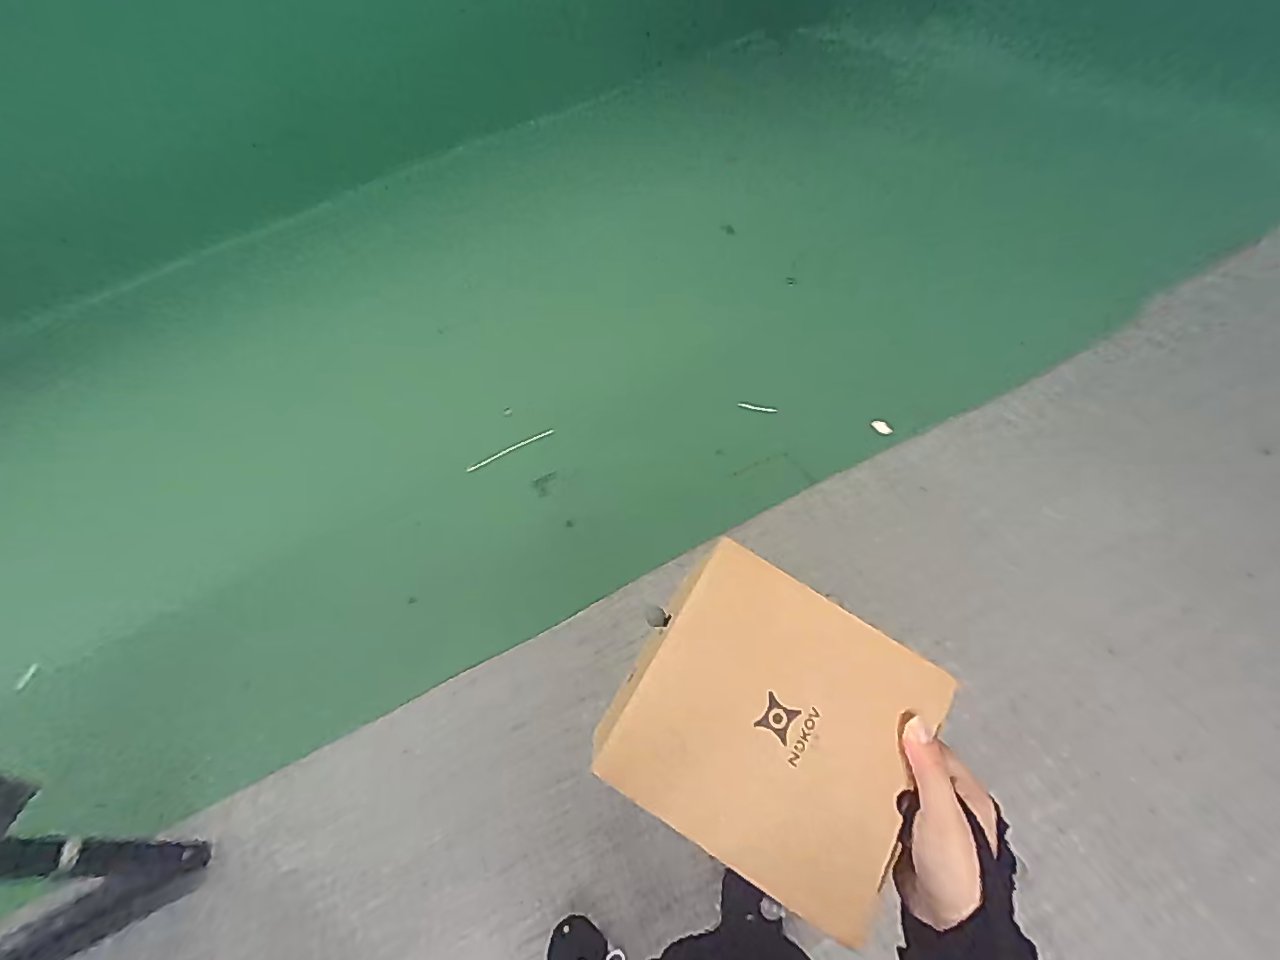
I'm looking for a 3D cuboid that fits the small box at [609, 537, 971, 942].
[{"bbox_3d":[0.089,0.171,0.402,0.179,0.176,0.168,32,71,5],"label":"small box"}]
